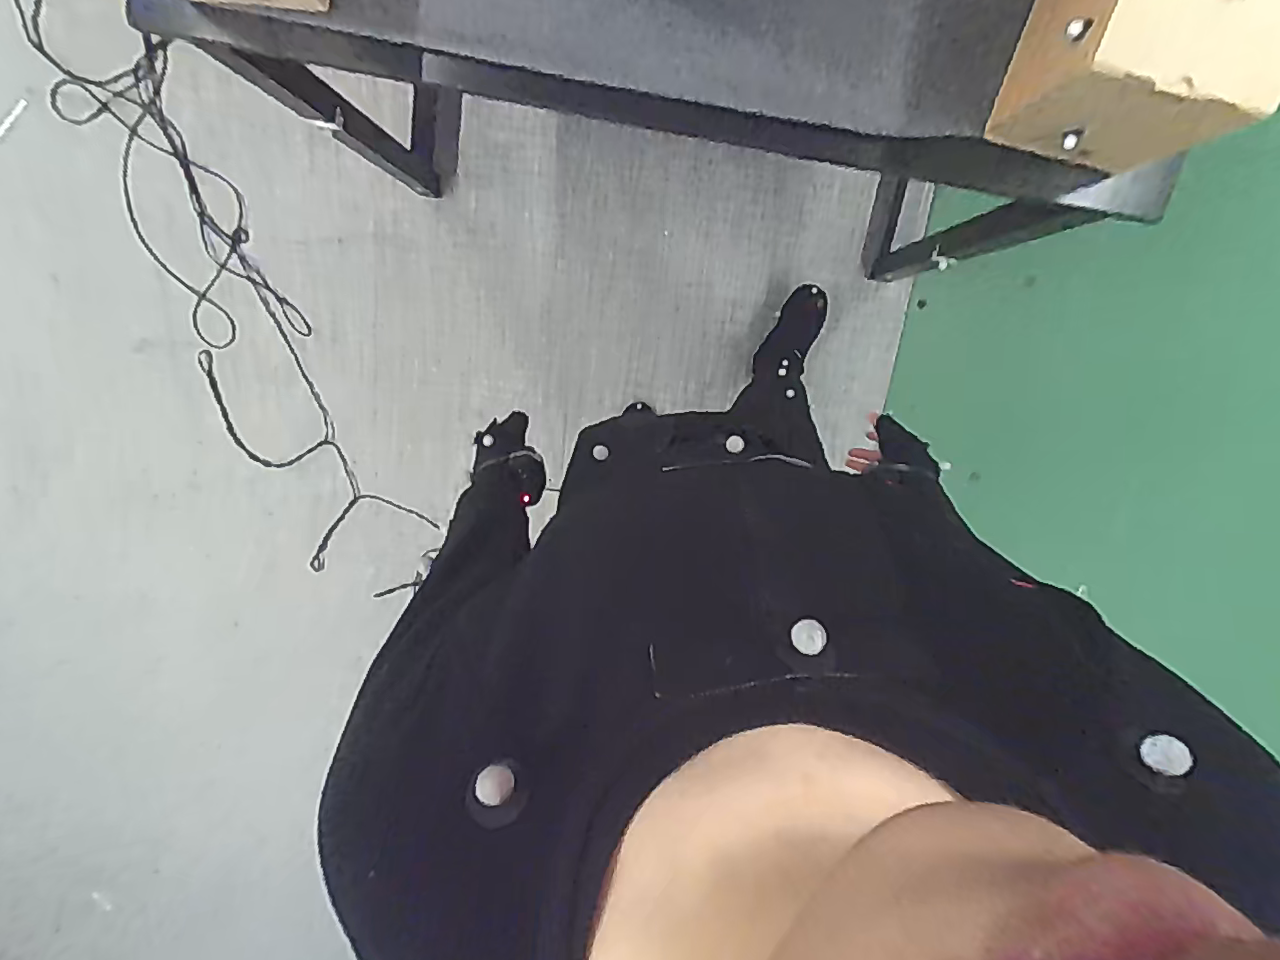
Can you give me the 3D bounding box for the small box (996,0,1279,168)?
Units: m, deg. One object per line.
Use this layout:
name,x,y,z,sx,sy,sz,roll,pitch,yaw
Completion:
small box,0.489,-0.433,0.516,0.168,0.176,0.179,15,106,-1
